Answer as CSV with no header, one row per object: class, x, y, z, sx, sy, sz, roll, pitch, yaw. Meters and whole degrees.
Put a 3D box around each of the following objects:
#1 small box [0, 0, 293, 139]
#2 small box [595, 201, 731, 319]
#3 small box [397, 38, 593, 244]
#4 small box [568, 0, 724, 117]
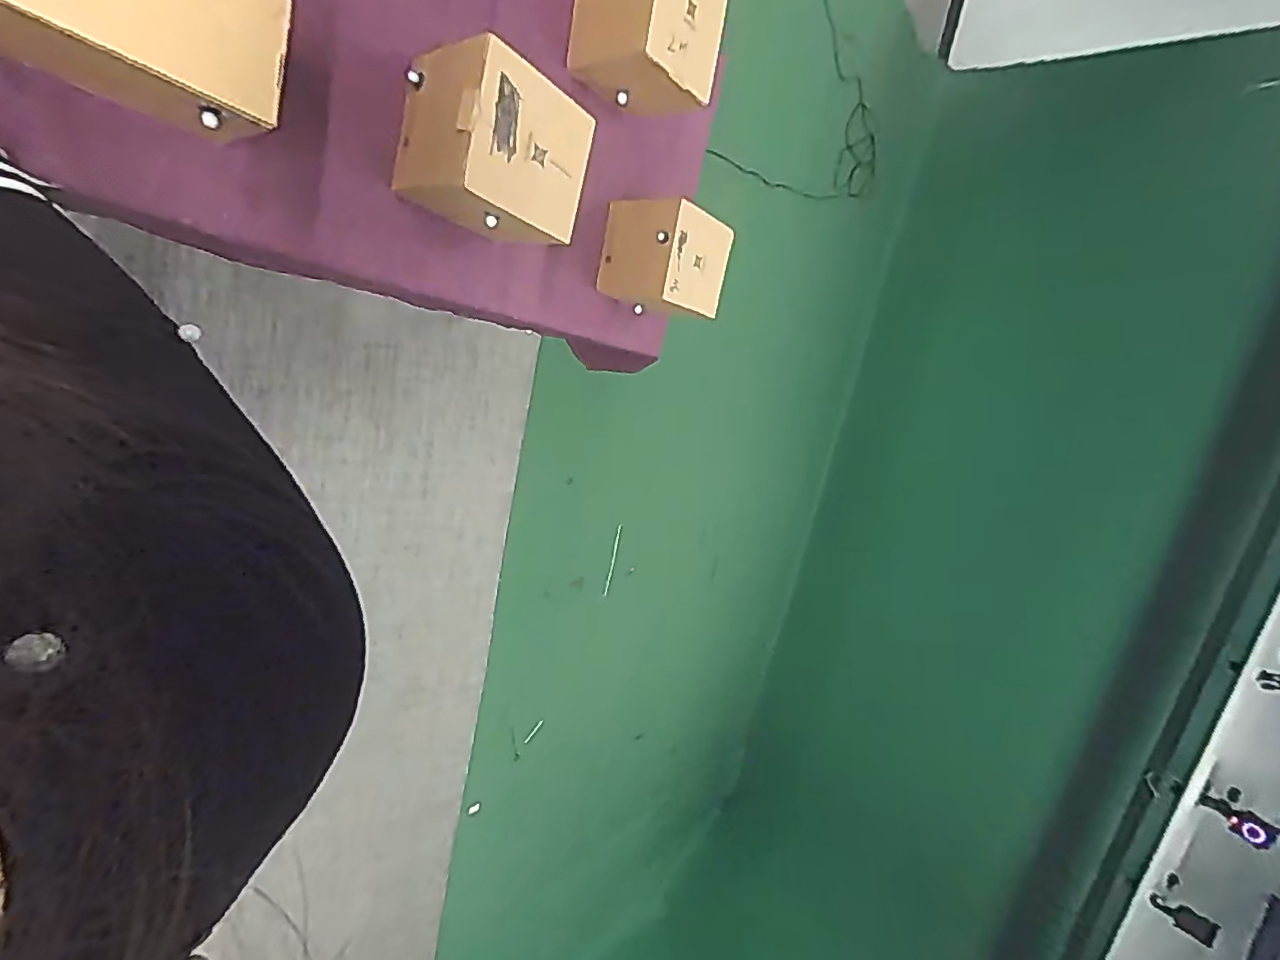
small box,-0.416,-0.408,0.444,0.179,0.176,0.168,0,106,-54
small box,0.043,-0.415,1.028,0.179,0.176,0.168,-3,108,-52
small box,-0.195,-0.428,0.719,0.179,0.176,0.168,3,104,-53
small box,0.007,-0.705,0.845,0.168,0.176,0.179,-5,111,-50
